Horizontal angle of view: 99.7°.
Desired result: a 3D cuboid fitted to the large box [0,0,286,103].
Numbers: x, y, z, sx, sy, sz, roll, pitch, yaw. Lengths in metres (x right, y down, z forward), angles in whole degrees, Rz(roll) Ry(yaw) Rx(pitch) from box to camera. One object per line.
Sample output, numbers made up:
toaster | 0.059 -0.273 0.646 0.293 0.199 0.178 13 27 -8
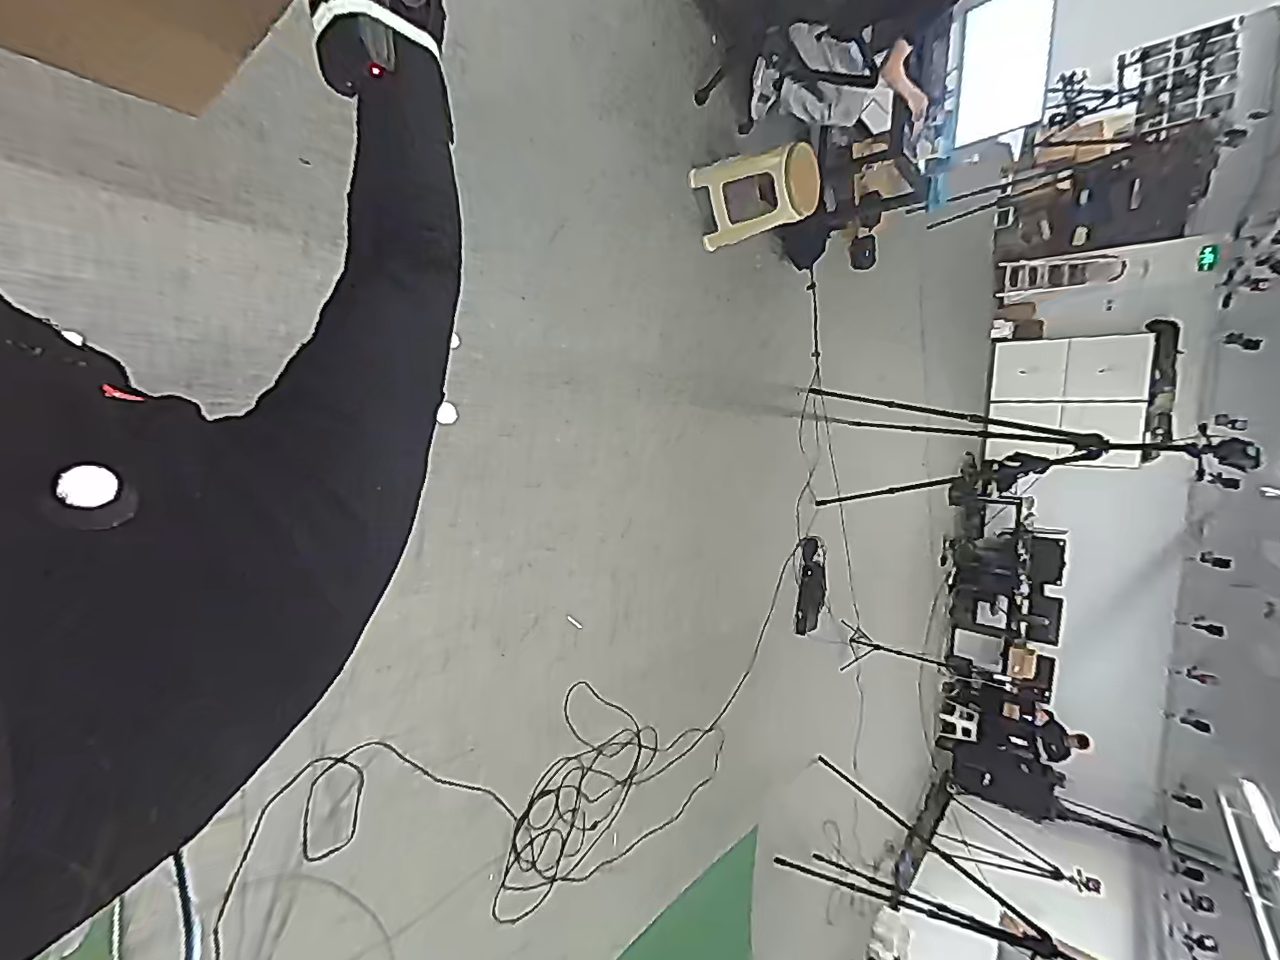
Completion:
large box | -0.458 -0.496 0.292 0.408 0.320 0.320 -5 104 -50
